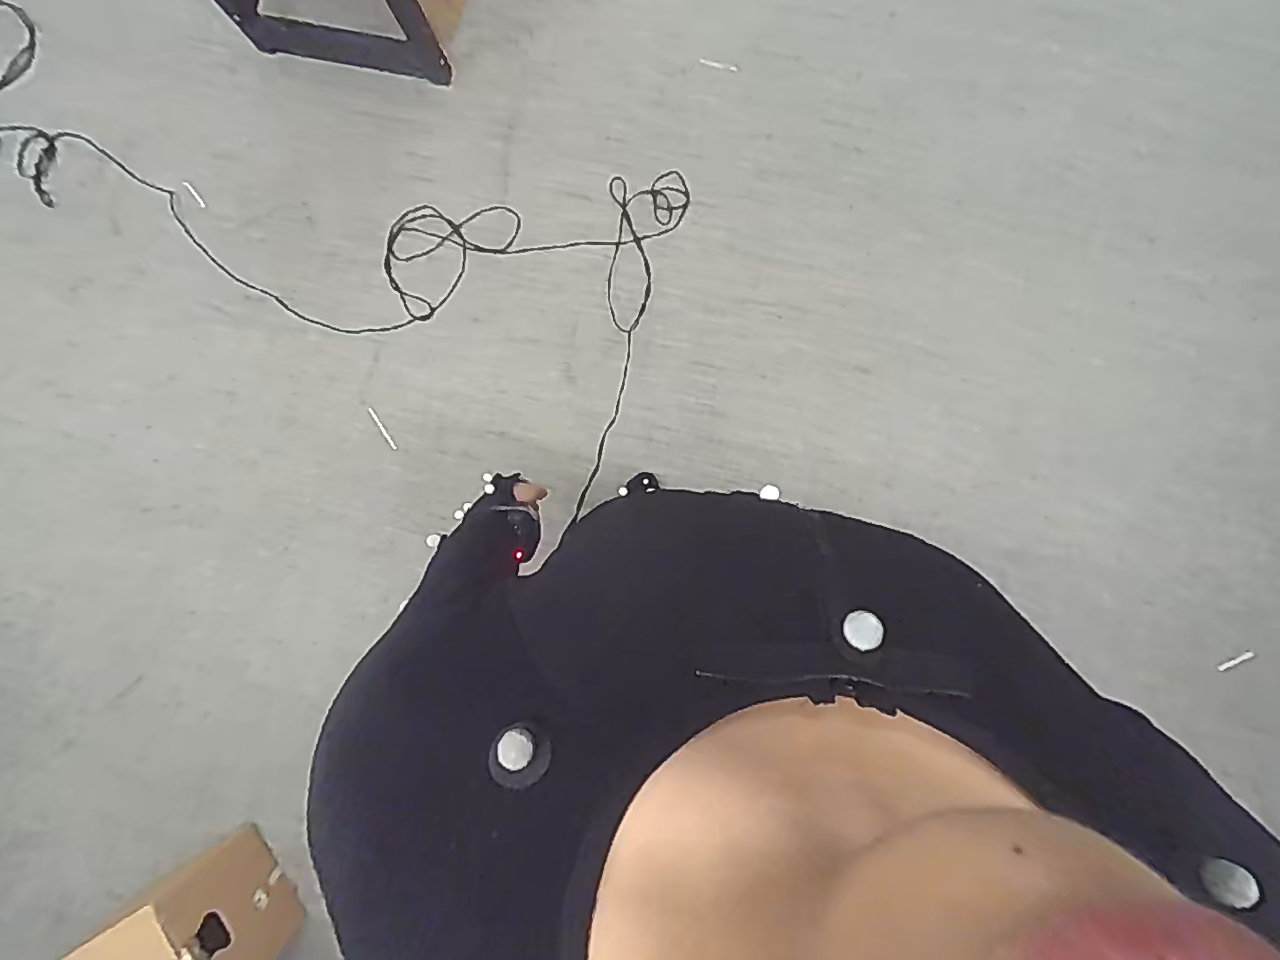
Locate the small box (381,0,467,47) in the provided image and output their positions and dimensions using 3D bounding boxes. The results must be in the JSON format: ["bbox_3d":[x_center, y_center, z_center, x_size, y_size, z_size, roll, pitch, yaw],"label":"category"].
[{"bbox_3d":[-0.597,-1.344,1.474,0.168,0.176,0.179,25,90,2],"label":"small box"}]
